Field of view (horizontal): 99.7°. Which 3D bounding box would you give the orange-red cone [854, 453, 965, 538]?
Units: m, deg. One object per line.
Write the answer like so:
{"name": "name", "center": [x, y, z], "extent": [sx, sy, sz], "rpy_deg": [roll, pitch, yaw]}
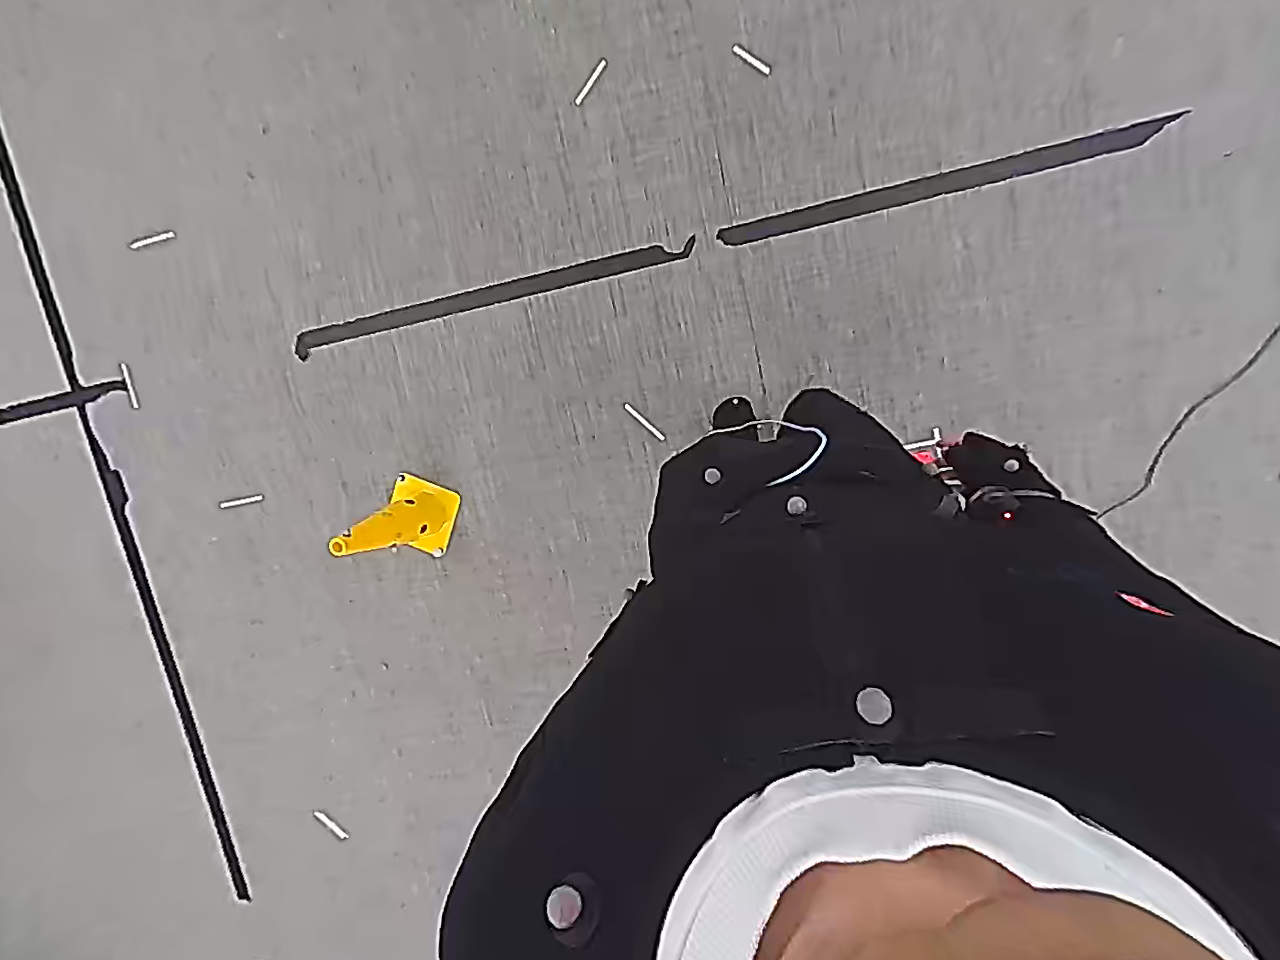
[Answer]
{"name": "orange-red cone", "center": [0.625, 0.061, 1.196], "extent": [0.199, 0.360, 0.198], "rpy_deg": [-11, 95, 11]}
